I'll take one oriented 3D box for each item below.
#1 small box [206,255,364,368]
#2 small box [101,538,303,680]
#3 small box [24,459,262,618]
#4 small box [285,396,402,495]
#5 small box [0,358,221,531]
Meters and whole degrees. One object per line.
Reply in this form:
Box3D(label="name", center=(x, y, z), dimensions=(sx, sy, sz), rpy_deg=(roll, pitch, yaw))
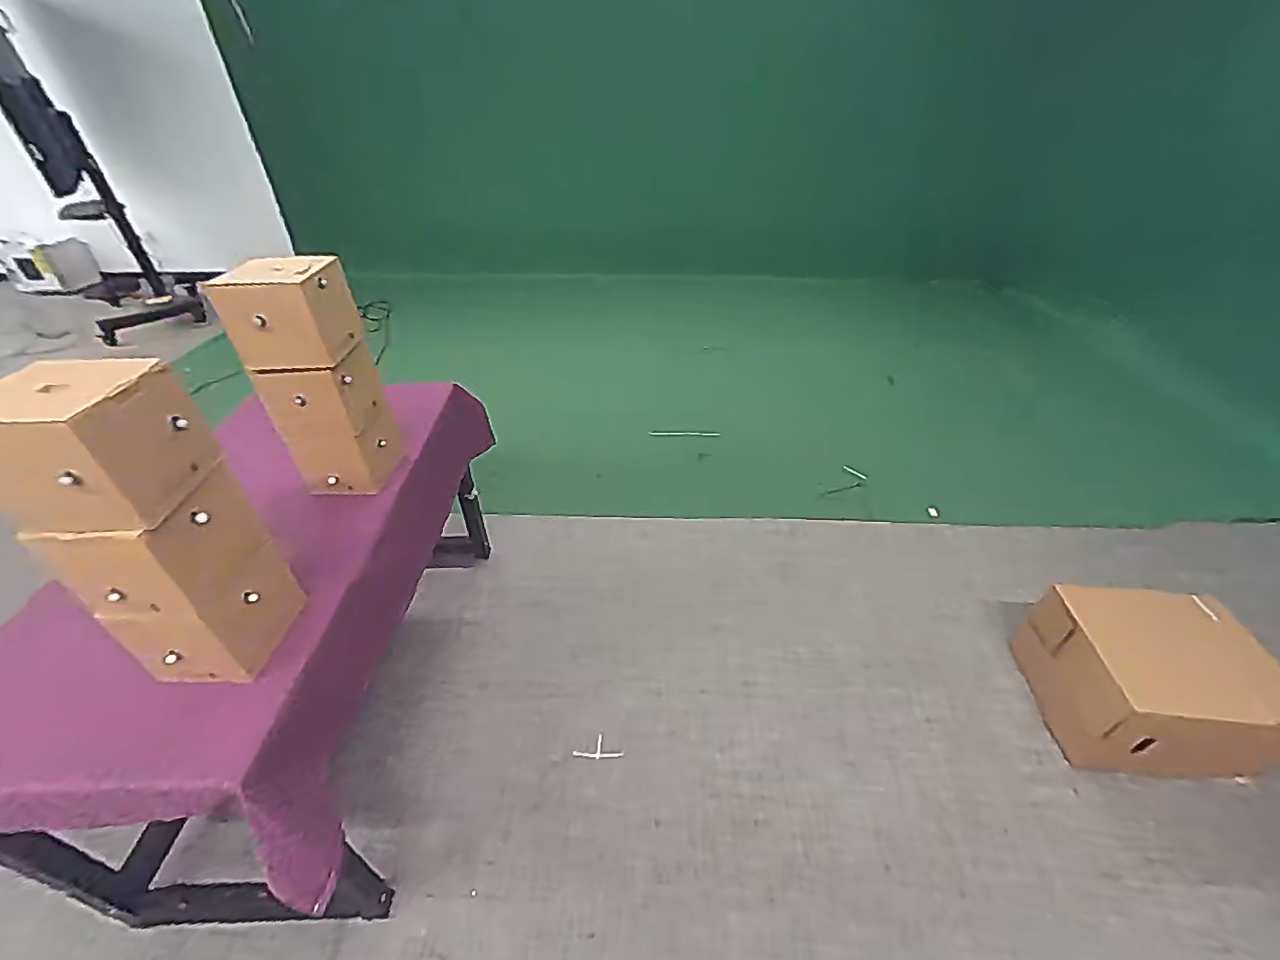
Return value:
Box3D(label="small box", center=(-0.687, -0.332, 1.072), dimensions=(0.179, 0.176, 0.168), rpy_deg=(-3, 39, 1))
Box3D(label="small box", center=(-0.710, 0.216, 0.907), dimensions=(0.168, 0.176, 0.179), rpy_deg=(1, 38, 2))
Box3D(label="small box", center=(-0.714, 0.084, 0.810), dimensions=(0.168, 0.176, 0.179), rpy_deg=(0, 39, 2))
Box3D(label="small box", center=(-0.692, -0.084, 1.290), dimensions=(0.168, 0.176, 0.179), rpy_deg=(0, 39, 2))
Box3D(label="small box", center=(-0.714, -0.046, 0.712), dimensions=(0.179, 0.176, 0.168), rpy_deg=(-2, 38, 1))
